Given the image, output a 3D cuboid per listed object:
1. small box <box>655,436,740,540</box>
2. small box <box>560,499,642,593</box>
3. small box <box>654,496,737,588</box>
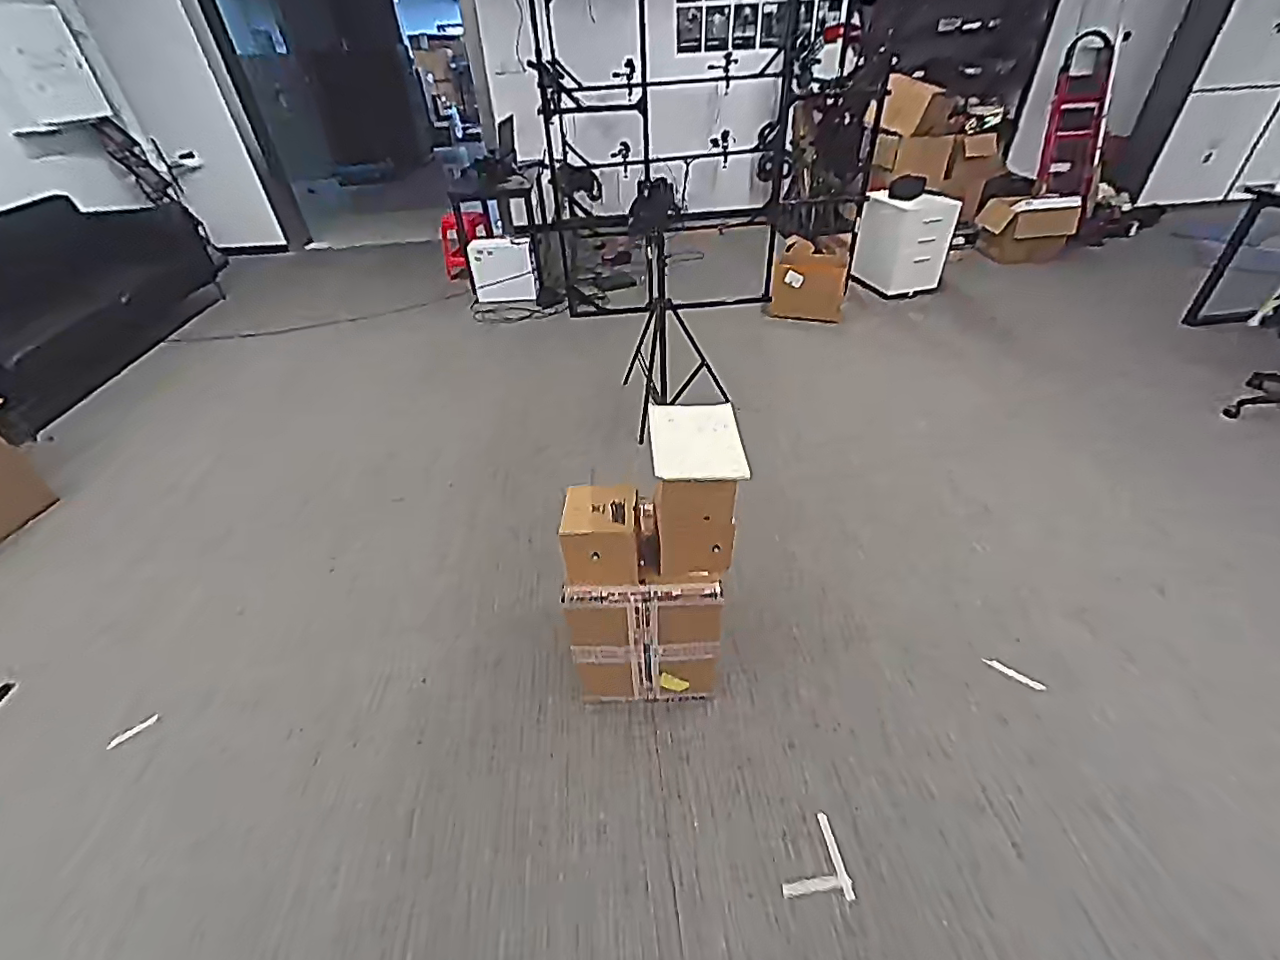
[{"bbox_3d":[0.123,0.018,1.241,0.168,0.176,0.179,-3,39,-3],"label":"small box"},{"bbox_3d":[-0.087,0.163,1.332,0.179,0.176,0.168,-2,41,5],"label":"small box"},{"bbox_3d":[0.129,0.148,1.339,0.179,0.176,0.168,-5,40,-4],"label":"small box"}]
